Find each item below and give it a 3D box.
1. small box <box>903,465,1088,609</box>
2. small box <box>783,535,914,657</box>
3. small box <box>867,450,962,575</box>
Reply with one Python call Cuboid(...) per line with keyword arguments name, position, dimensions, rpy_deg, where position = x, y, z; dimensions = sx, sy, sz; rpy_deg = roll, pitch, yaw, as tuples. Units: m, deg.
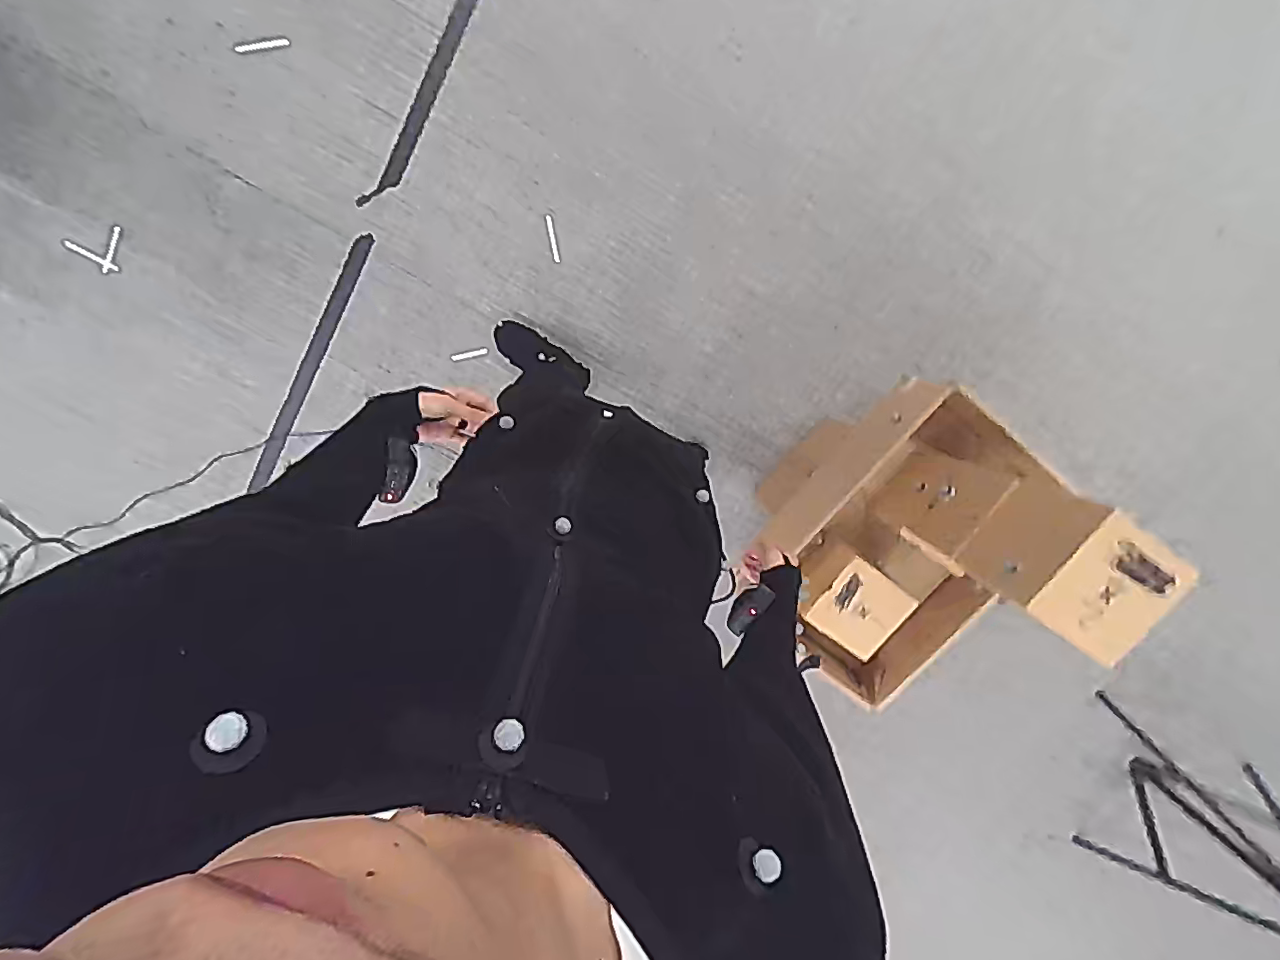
Cuboid(name="small box", position=(0.621, 0.091, 0.968), dimensions=(0.179, 0.176, 0.168), rpy_deg=(33, 101, -8))
Cuboid(name="small box", position=(0.439, 0.240, 1.173), dimensions=(0.179, 0.176, 0.168), rpy_deg=(36, 101, -9))
Cuboid(name="small box", position=(0.614, 0.059, 1.127), dimensions=(0.168, 0.176, 0.179), rpy_deg=(35, 102, -8))
